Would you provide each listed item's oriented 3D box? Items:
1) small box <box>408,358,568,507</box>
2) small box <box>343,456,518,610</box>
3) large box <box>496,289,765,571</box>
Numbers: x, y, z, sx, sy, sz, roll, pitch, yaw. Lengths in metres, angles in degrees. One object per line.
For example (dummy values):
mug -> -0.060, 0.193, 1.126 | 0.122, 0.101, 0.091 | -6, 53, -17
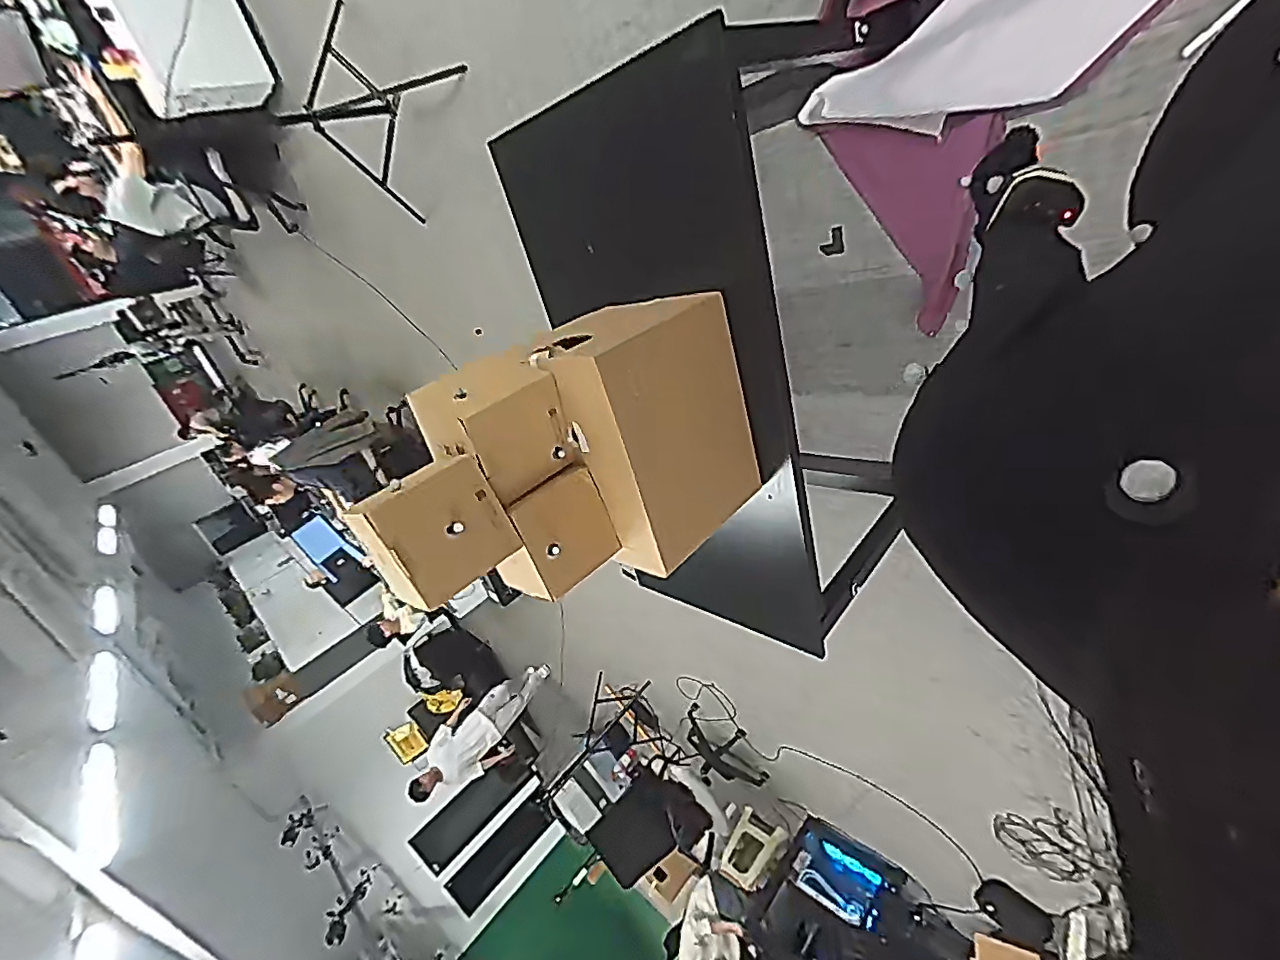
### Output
small box -> -0.236, -0.086, 0.884 | 0.179, 0.176, 0.168 | 23, 137, 39
small box -> -0.313, 0.074, 0.827 | 0.179, 0.176, 0.168 | -6, 115, 52
large box -> -0.004, -0.103, 1.029 | 0.320, 0.320, 0.408 | 9, 126, 46
